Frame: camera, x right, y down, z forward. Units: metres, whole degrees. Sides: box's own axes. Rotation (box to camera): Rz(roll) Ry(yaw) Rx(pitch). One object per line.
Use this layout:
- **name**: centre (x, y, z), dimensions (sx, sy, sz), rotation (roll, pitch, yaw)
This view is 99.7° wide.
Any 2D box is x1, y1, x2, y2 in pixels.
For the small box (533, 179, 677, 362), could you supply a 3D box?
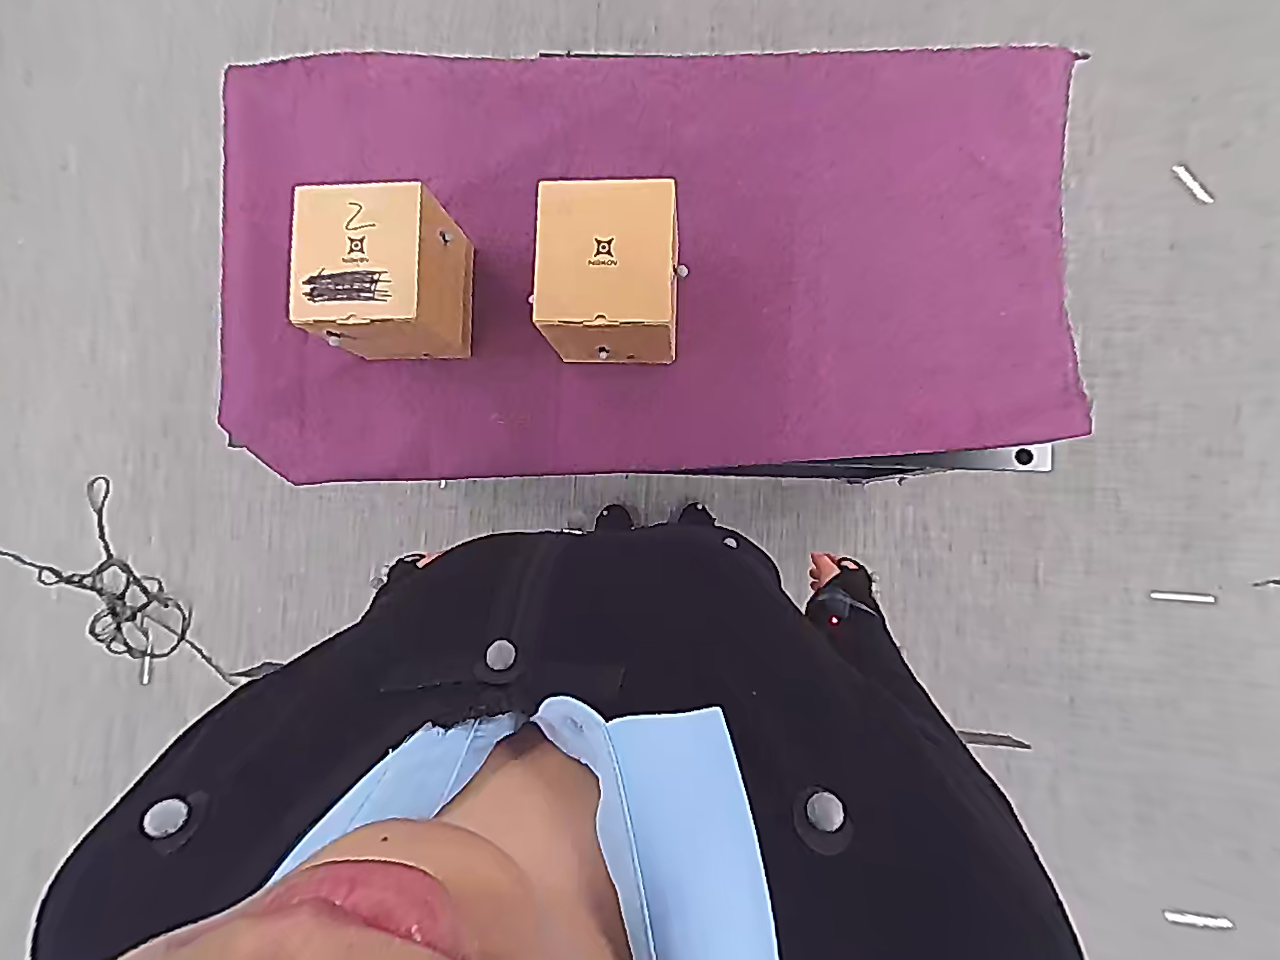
- **small box**: centre (-0.037, -0.266, 0.718), dimensions (0.168, 0.176, 0.179), rotation (2, 88, 5)
